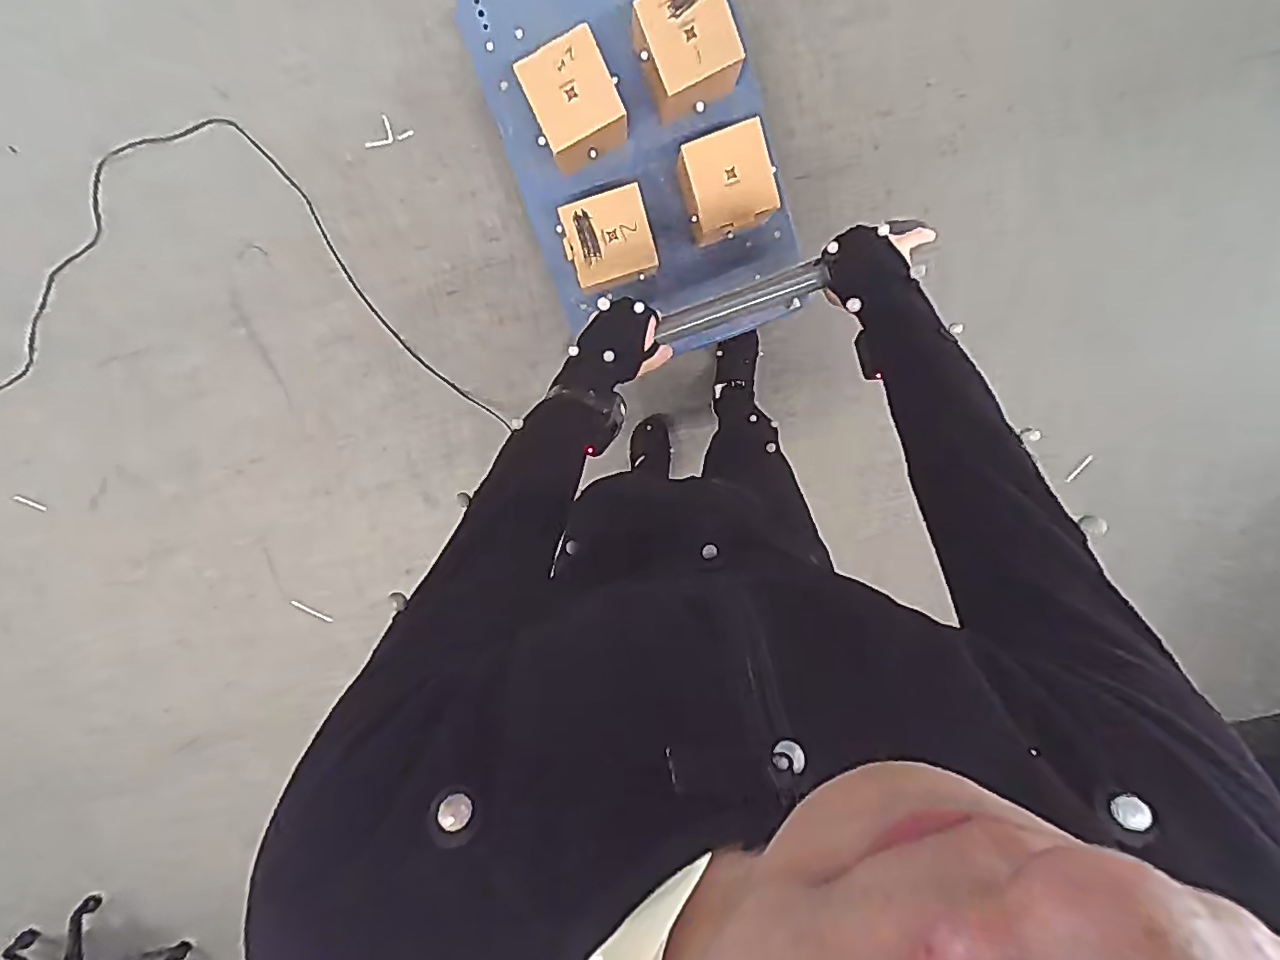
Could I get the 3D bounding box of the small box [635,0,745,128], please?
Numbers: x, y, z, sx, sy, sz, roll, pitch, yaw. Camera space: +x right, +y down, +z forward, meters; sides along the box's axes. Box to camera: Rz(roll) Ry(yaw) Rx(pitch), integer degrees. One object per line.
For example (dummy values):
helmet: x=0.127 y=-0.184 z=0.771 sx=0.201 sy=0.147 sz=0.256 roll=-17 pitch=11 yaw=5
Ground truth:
small box: x=0.096 y=-0.878 z=1.116 sx=0.168 sy=0.176 sz=0.179 roll=-24 pitch=104 yaw=7

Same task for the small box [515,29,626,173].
small box: x=-0.136 y=-0.779 z=1.142 sx=0.168 sy=0.176 sz=0.179 roll=-26 pitch=103 yaw=6

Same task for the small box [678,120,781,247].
small box: x=0.188 y=-0.634 z=1.179 sx=0.168 sy=0.176 sz=0.179 roll=-19 pitch=104 yaw=5
